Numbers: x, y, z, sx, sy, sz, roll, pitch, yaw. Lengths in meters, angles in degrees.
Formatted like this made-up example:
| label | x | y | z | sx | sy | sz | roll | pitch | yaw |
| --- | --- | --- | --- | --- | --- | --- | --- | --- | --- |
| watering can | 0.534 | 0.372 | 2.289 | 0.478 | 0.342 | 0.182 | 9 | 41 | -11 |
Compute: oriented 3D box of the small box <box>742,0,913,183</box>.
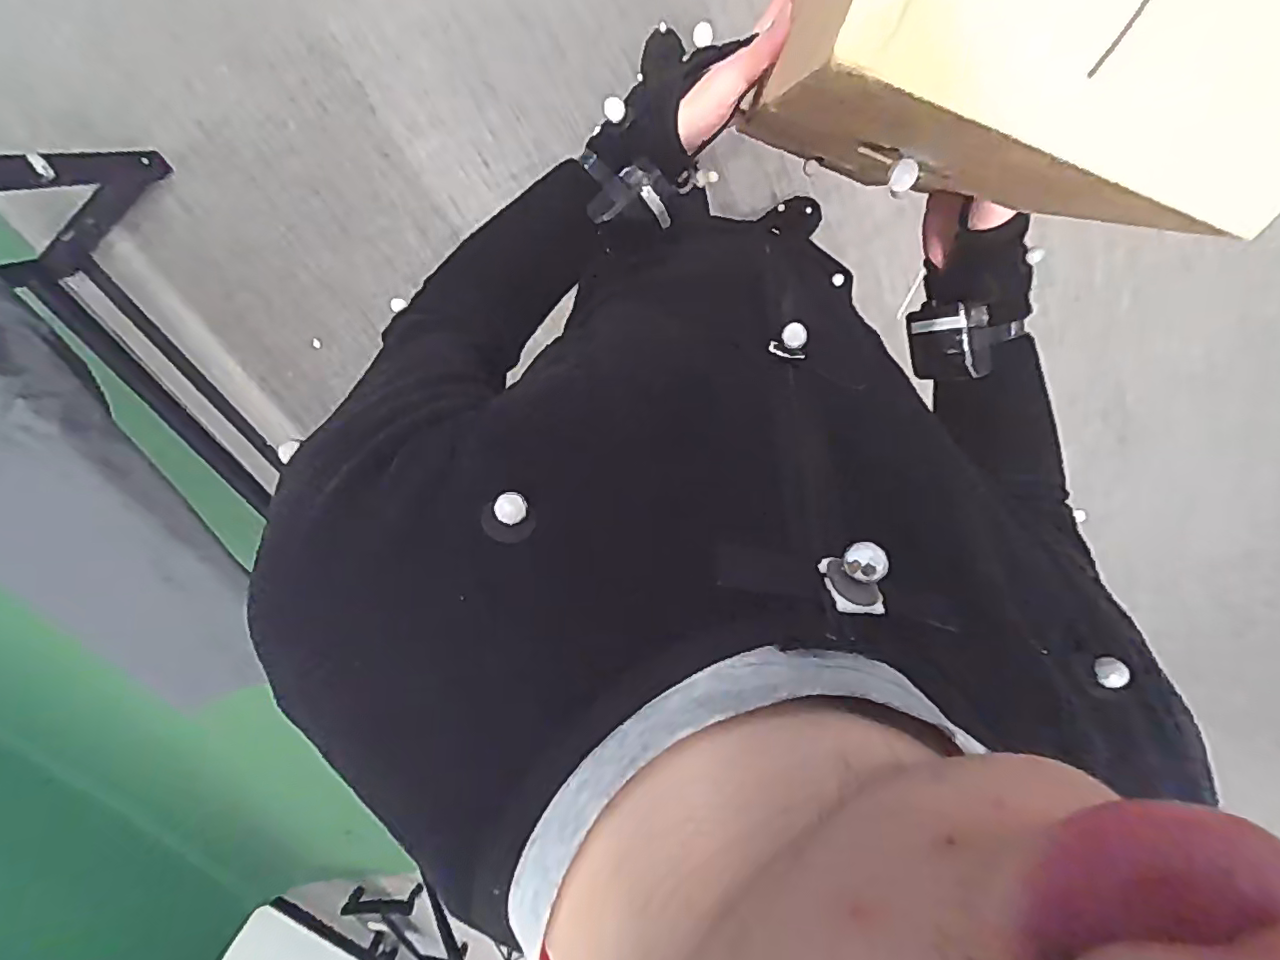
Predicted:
| label | x | y | z | sx | sy | sz | roll | pitch | yaw |
| --- | --- | --- | --- | --- | --- | --- | --- | --- | --- |
| small box | 0.200 | -0.389 | 0.481 | 0.168 | 0.176 | 0.179 | 20 | 121 | -5 |

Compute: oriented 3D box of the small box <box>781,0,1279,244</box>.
| label | x | y | z | sx | sy | sz | roll | pitch | yaw |
| --- | --- | --- | --- | --- | --- | --- | --- | --- | --- |
| small box | 0.168 | -0.218 | 0.205 | 0.168 | 0.176 | 0.179 | 19 | 121 | -6 |

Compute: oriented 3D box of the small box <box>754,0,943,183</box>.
| label | x | y | z | sx | sy | sz | roll | pitch | yaw |
| --- | --- | --- | --- | --- | --- | --- | --- | --- | --- |
| small box | 0.181 | -0.305 | 0.343 | 0.168 | 0.176 | 0.179 | 18 | 119 | -5 |
